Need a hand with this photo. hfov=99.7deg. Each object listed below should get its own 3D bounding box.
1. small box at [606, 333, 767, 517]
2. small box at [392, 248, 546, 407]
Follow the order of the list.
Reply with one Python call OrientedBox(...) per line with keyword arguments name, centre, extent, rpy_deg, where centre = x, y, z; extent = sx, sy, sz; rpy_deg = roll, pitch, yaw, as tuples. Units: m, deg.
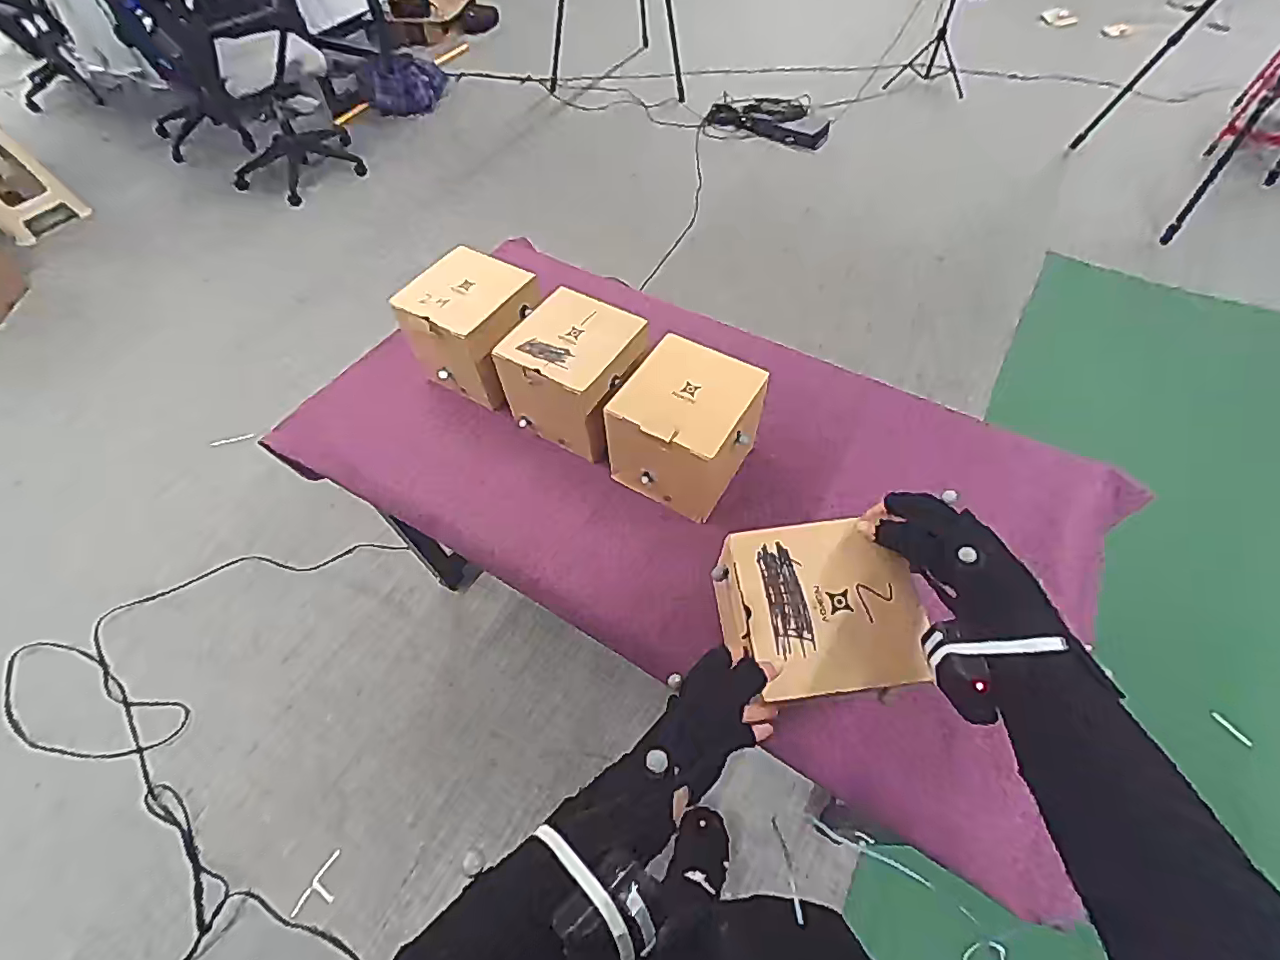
OrientedBox(name="small box", centre=(0.067, -0.079, 0.806), extent=(0.168, 0.176, 0.179), rpy_deg=(27, 63, 19))
OrientedBox(name="small box", centre=(-0.281, -0.262, 0.937), extent=(0.168, 0.176, 0.179), rpy_deg=(26, 62, 19))
